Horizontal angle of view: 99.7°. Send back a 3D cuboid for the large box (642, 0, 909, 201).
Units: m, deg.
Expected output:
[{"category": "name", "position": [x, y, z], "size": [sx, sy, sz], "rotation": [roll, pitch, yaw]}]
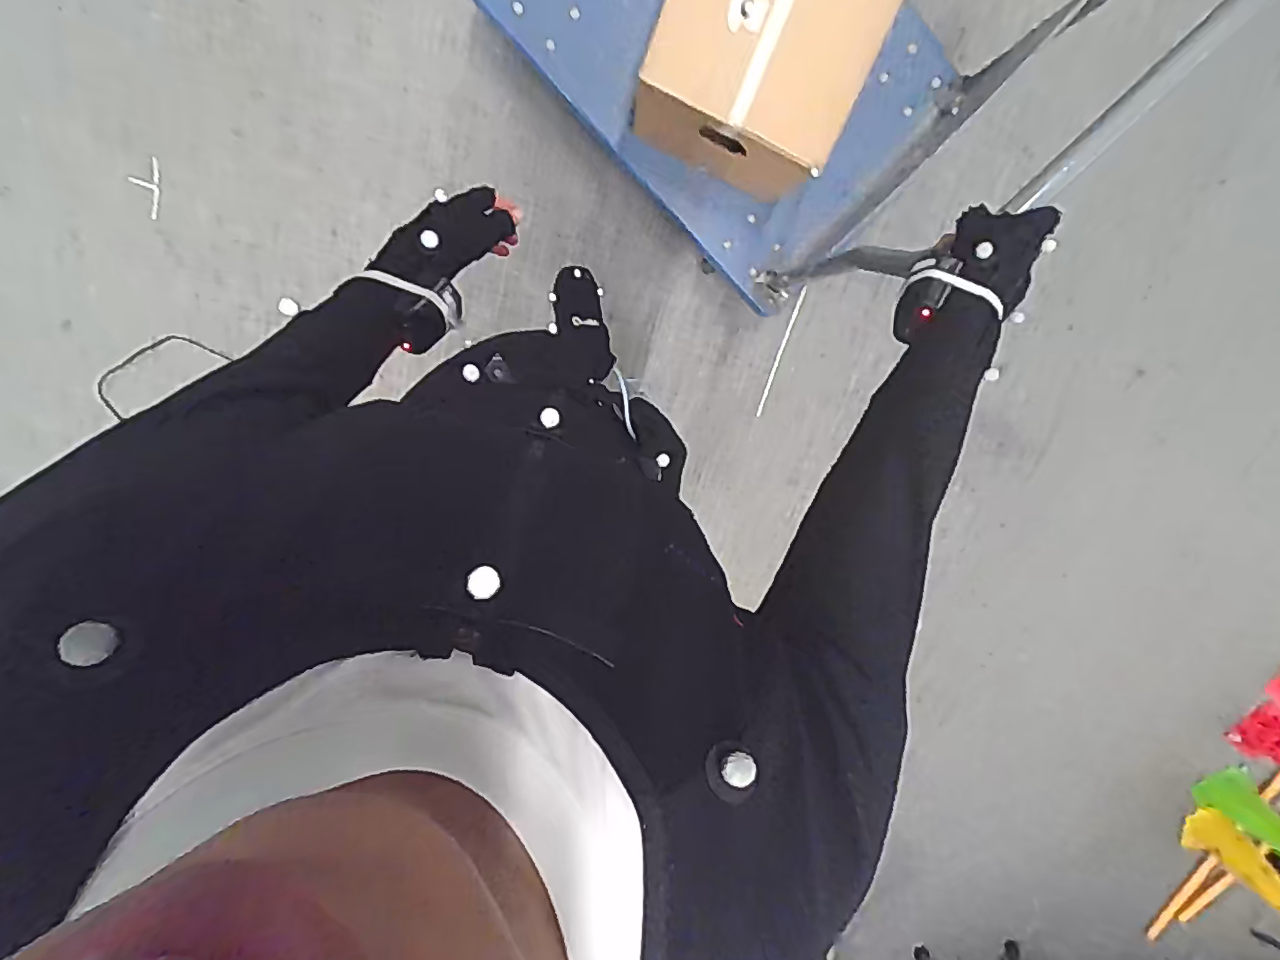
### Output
[{"category": "large box", "position": [0.222, -0.753, 0.906], "size": [0.320, 0.320, 0.408], "rotation": [21, 108, -9]}]
